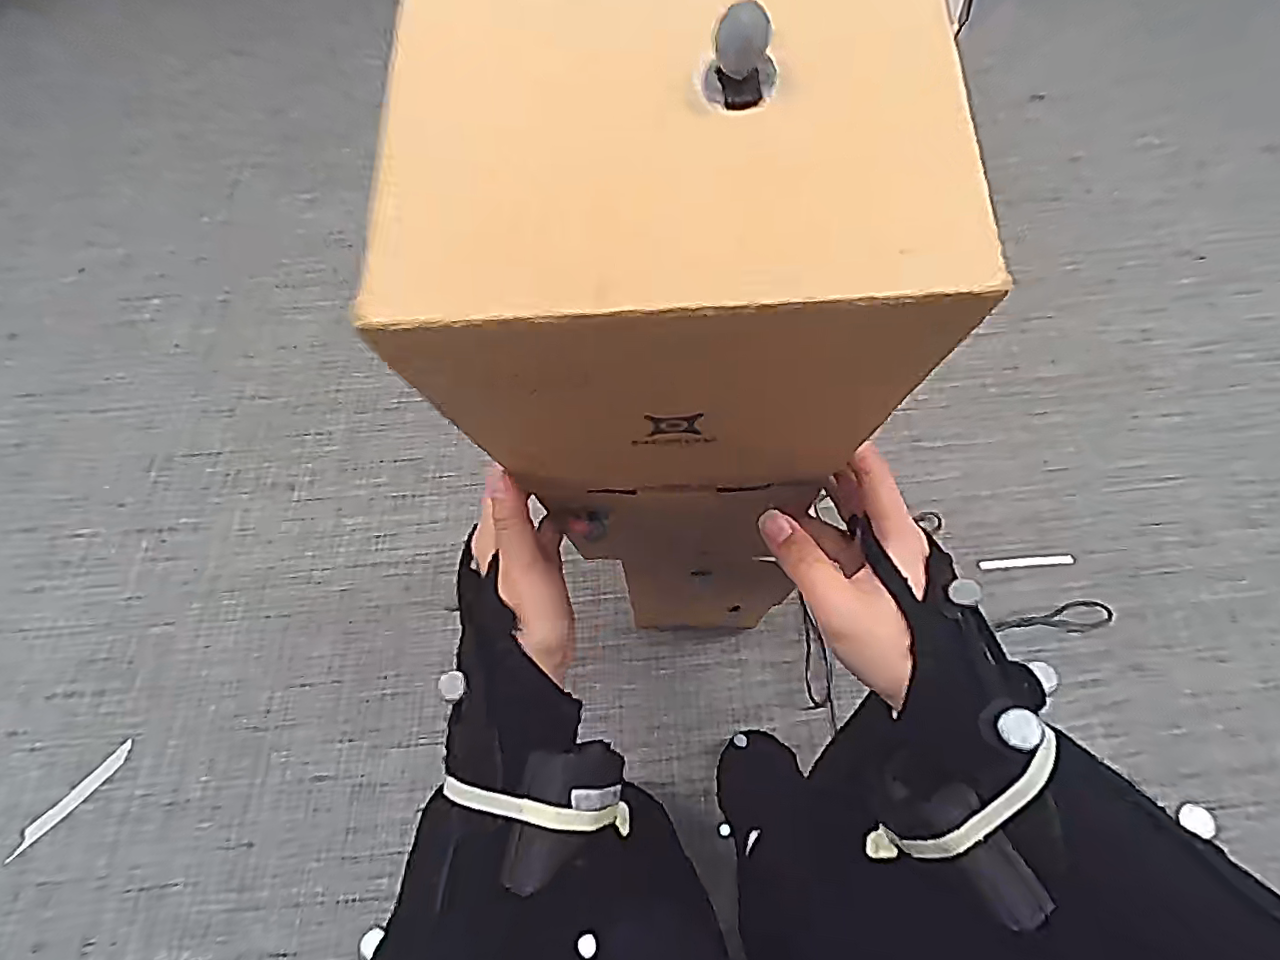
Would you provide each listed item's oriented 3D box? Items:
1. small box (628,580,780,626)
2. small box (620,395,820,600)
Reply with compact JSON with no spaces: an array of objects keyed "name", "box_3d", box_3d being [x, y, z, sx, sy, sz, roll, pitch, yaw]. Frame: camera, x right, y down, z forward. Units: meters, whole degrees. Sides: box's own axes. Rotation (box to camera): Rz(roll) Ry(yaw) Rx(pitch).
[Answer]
[{"name":"small box","box_3d":[0.077,0.095,0.721,0.179,0.176,0.168,0,63,2]},{"name":"small box","box_3d":[0.074,0.026,0.572,0.179,0.176,0.168,1,65,2]}]
